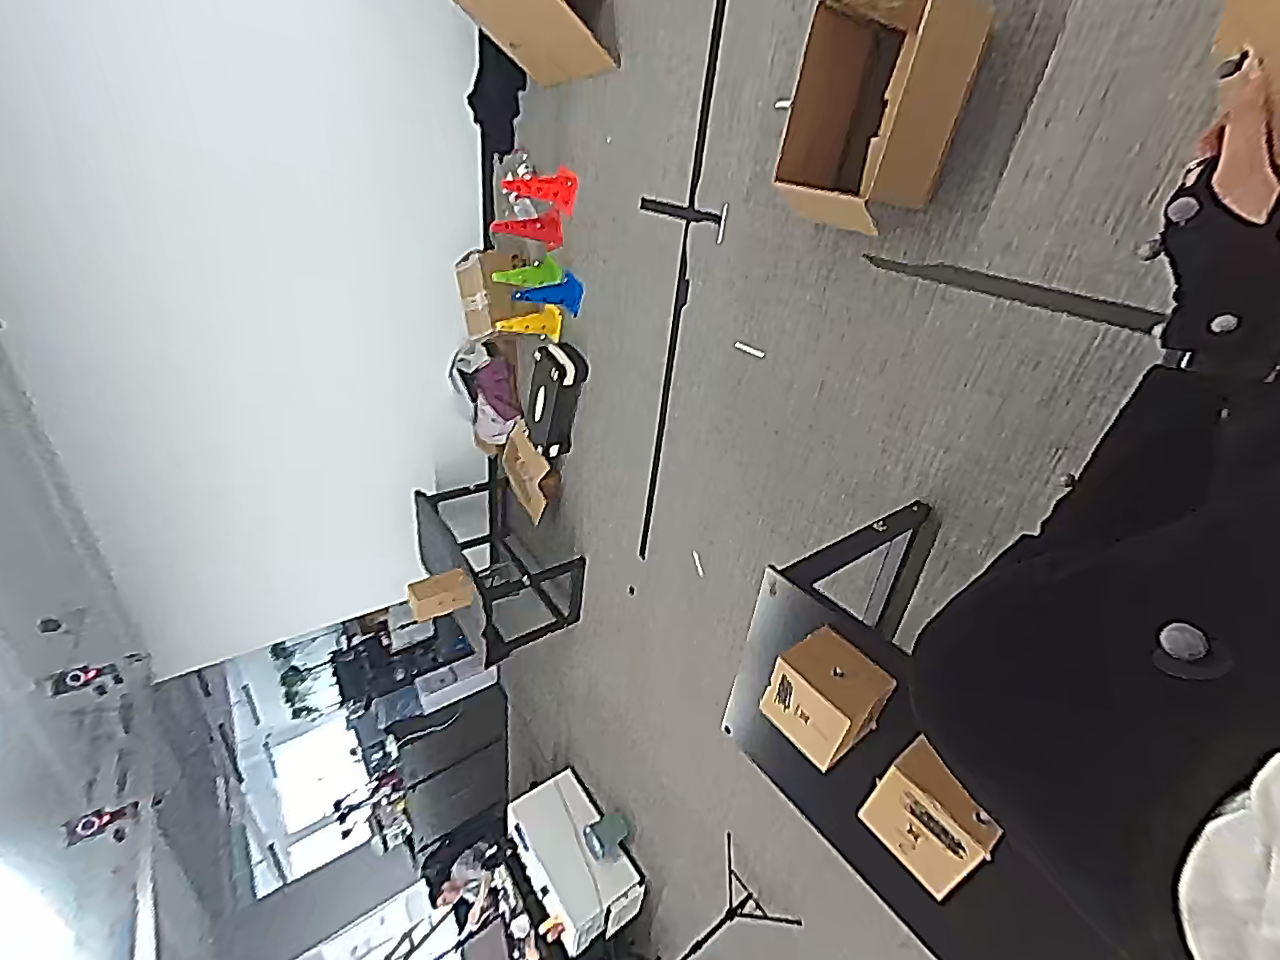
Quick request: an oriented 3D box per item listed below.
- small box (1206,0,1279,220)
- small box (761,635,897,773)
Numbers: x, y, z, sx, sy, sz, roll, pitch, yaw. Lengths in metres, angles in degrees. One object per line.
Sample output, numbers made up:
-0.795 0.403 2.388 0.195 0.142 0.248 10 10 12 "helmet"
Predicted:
0.526 -0.316 0.375 0.168 0.176 0.179 -7 90 43 "small box"
0.385 0.446 1.112 0.179 0.176 0.168 38 132 39 "small box"
